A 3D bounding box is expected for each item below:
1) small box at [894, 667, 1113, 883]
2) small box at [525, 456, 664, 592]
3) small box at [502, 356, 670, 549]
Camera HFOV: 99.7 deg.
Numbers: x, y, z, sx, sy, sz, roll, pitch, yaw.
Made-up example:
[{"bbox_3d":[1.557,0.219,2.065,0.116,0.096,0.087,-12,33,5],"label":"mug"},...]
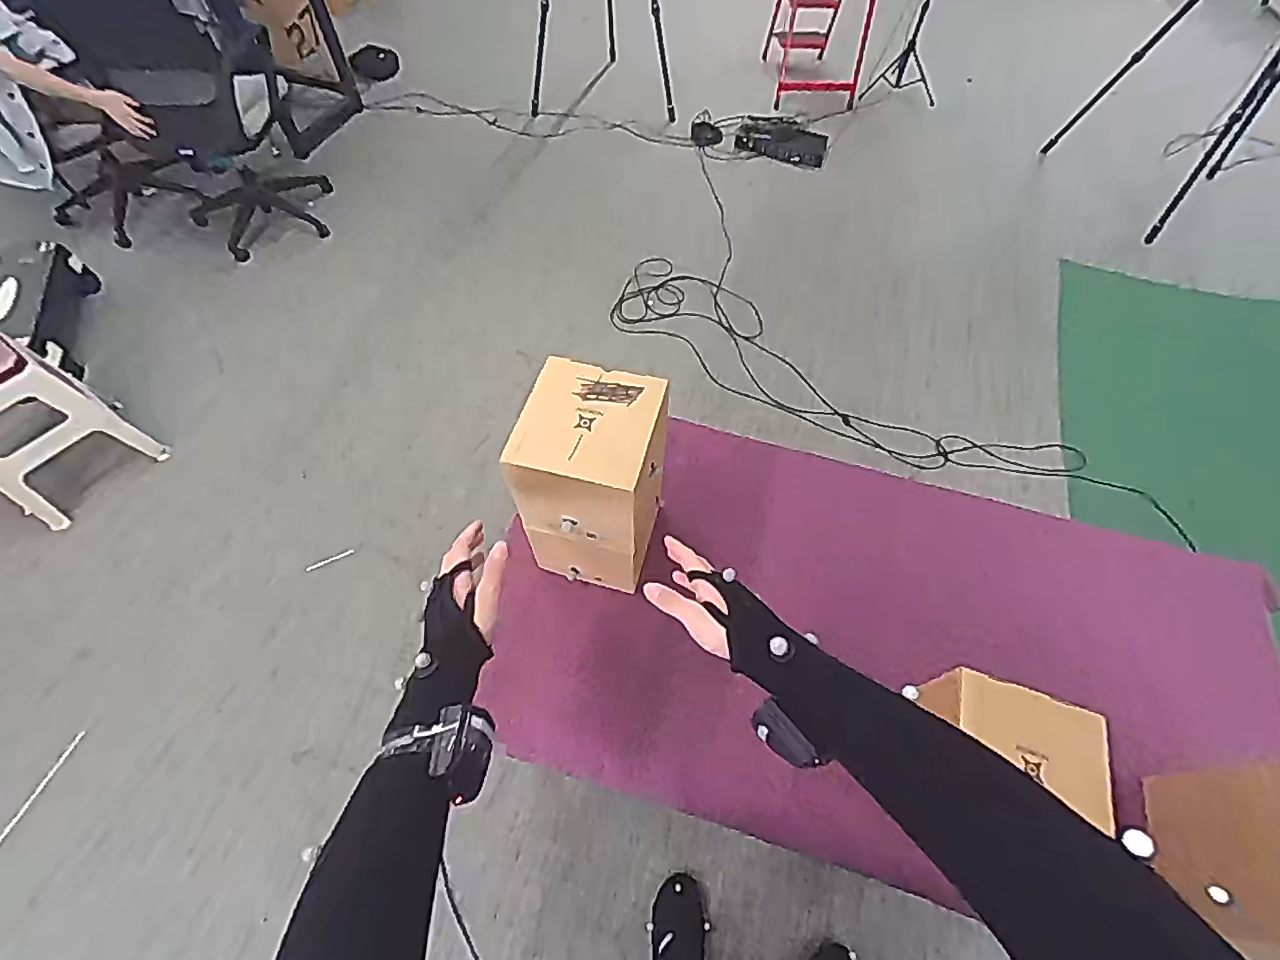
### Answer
[{"bbox_3d":[0.439,0.367,0.680,0.168,0.176,0.179,18,58,10],"label":"small box"},{"bbox_3d":[-0.065,0.054,0.866,0.168,0.176,0.179,14,60,8],"label":"small box"},{"bbox_3d":[-0.063,-0.032,0.727,0.168,0.176,0.179,13,60,8],"label":"small box"}]
